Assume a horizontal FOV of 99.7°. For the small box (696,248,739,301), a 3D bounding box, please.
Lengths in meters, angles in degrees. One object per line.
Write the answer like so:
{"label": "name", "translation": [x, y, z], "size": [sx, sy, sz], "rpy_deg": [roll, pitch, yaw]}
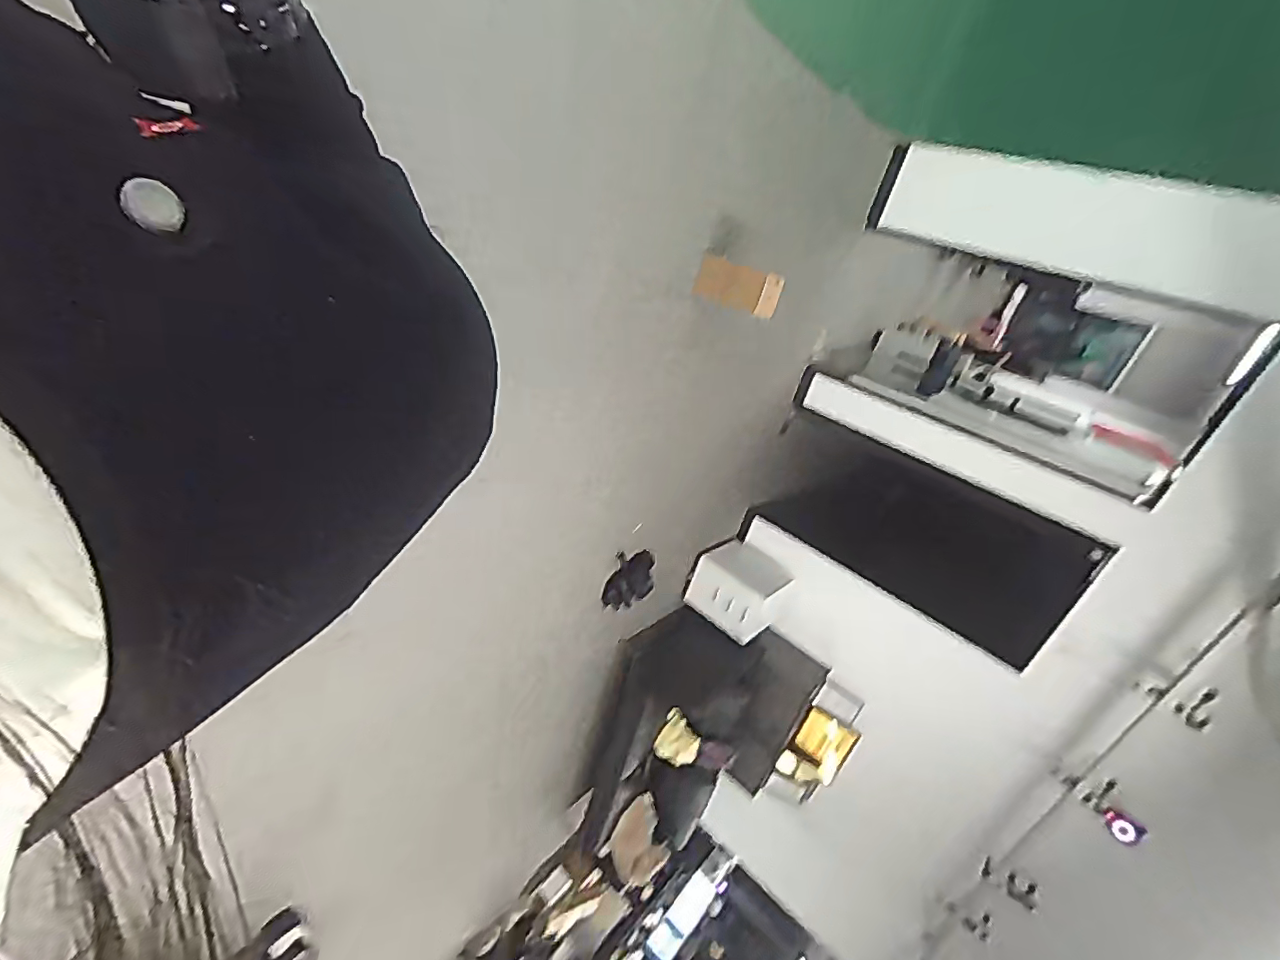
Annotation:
{"label": "small box", "translation": [0.372, -0.904, 2.395], "size": [0.168, 0.176, 0.179], "rpy_deg": [-11, 126, -53]}

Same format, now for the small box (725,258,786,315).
{"label": "small box", "translation": [0.485, -0.827, 2.311], "size": [0.168, 0.176, 0.179], "rpy_deg": [-11, 127, -51]}
